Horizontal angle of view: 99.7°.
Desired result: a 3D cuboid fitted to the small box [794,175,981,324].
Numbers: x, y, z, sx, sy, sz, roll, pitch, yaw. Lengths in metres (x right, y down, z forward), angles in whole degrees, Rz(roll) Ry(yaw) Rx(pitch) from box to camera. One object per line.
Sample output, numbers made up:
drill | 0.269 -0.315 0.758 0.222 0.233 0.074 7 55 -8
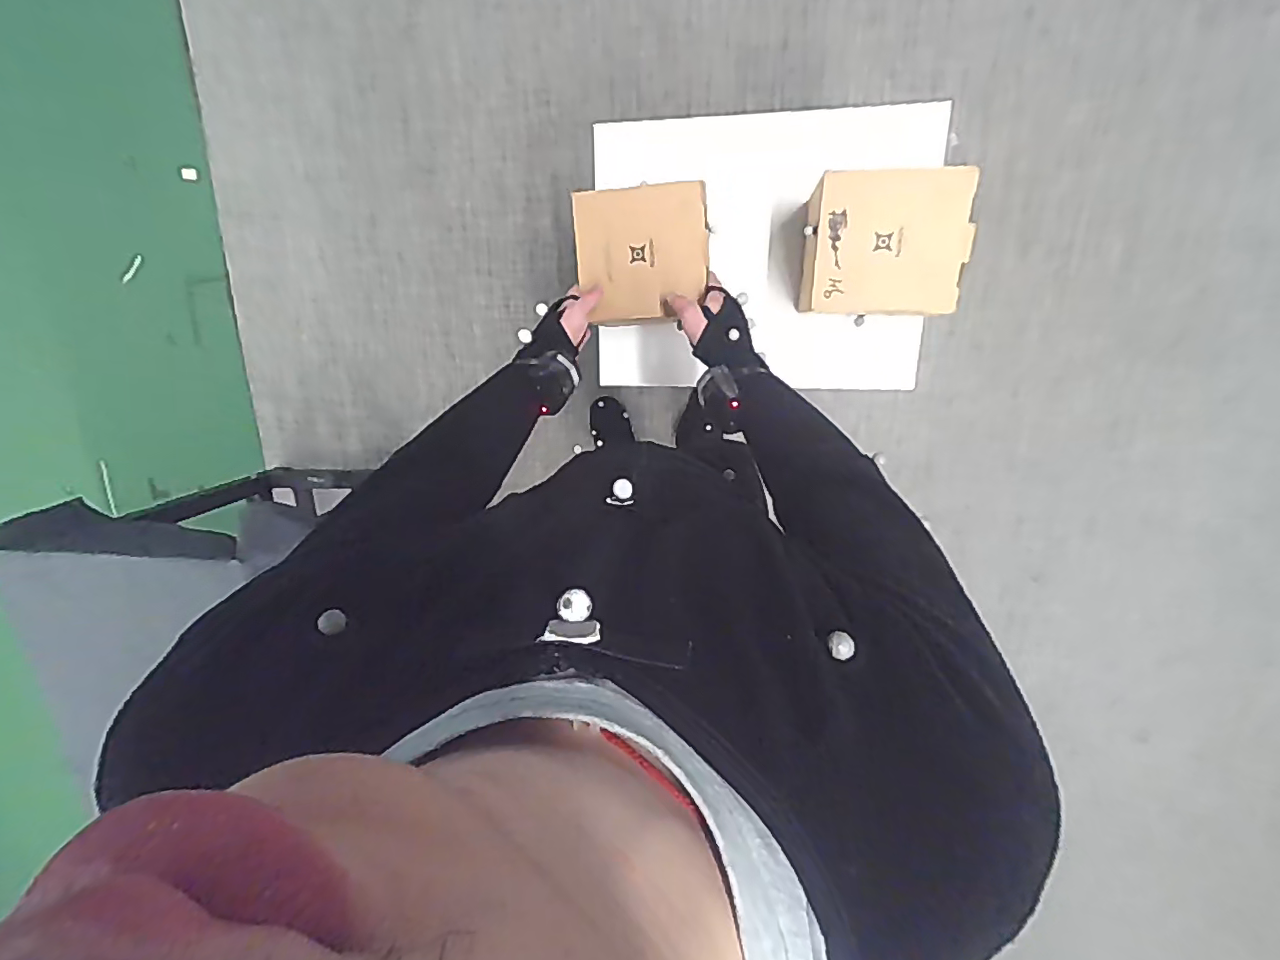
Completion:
small box | 0.318 -0.301 0.733 0.179 0.176 0.168 2 105 6

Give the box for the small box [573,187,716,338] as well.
small box | 0.014 -0.296 0.770 0.179 0.176 0.168 -4 101 8
